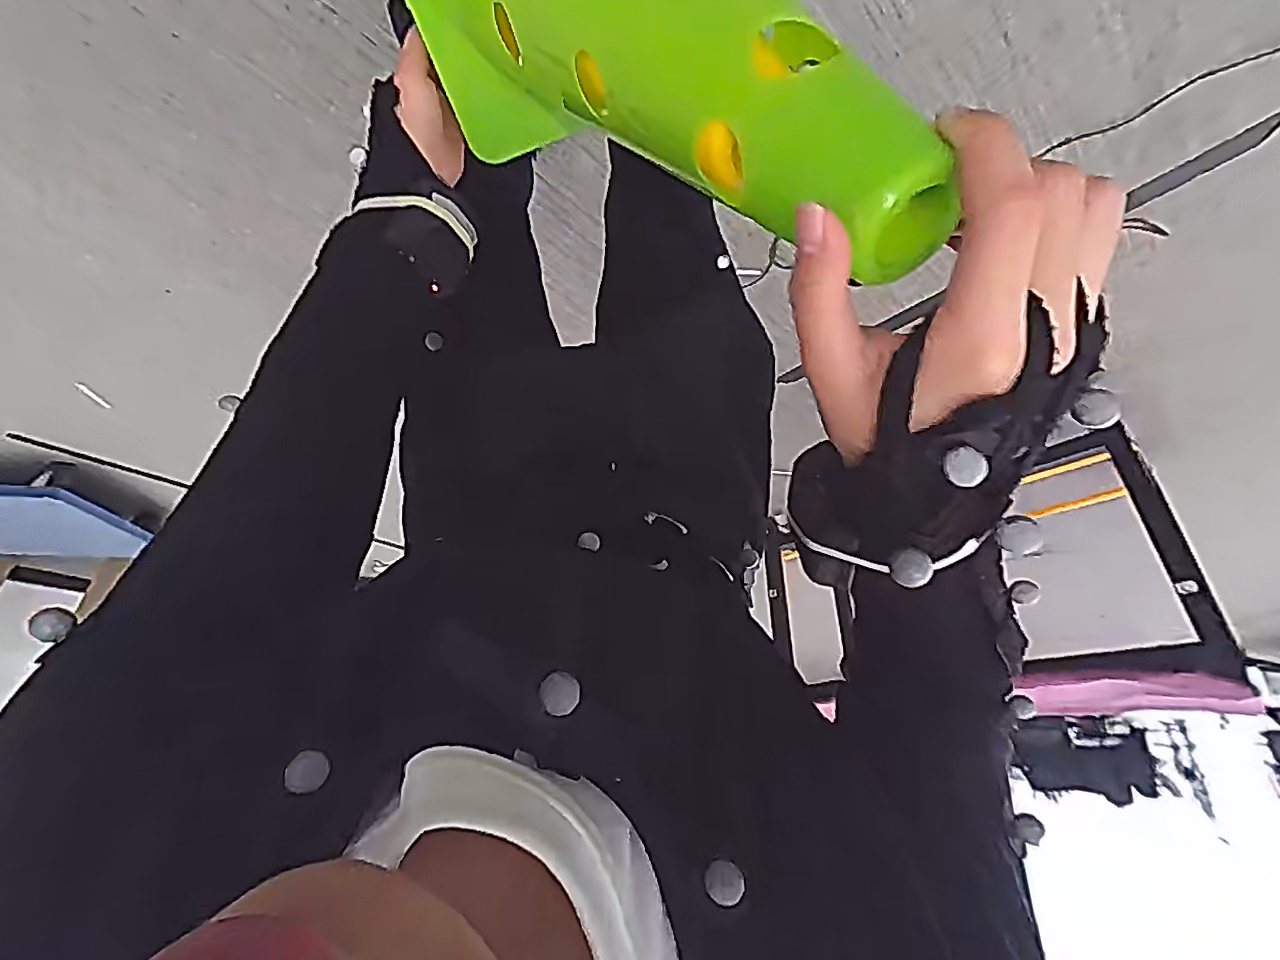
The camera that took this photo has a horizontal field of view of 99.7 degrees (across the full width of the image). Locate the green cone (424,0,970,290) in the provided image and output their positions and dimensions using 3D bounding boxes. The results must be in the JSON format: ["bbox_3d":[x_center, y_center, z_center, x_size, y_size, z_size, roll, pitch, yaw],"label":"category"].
[{"bbox_3d":[0.018,-0.210,0.252,0.202,0.368,0.200,-24,146,-2],"label":"green cone"}]
